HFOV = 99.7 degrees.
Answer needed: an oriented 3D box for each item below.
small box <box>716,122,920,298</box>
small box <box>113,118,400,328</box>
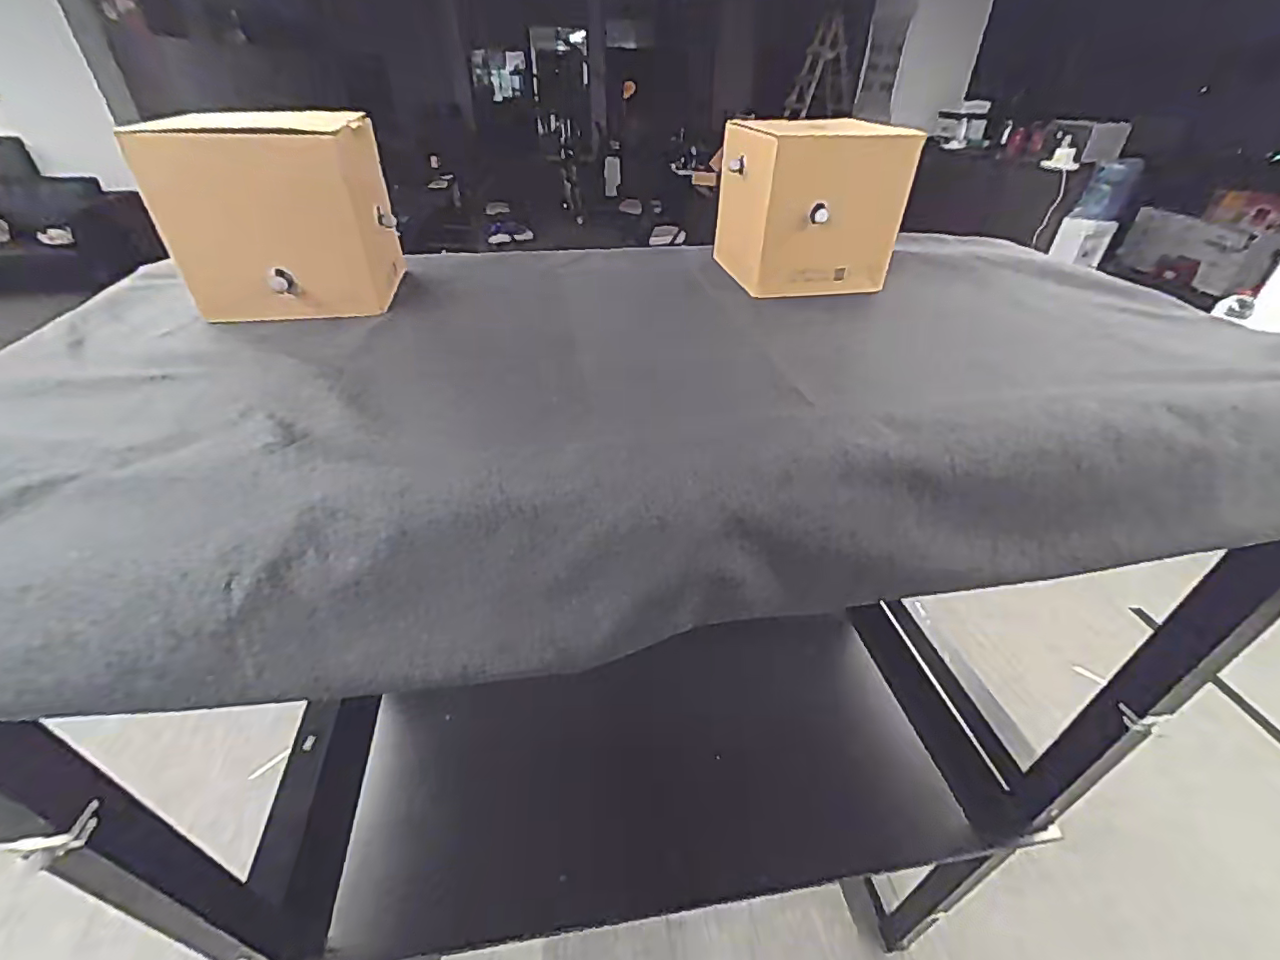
[{"bbox_3d":[0.198,-0.329,0.660,0.168,0.176,0.179,-6,38,-8],"label":"small box"},{"bbox_3d":[-0.369,-0.270,0.570,0.179,0.176,0.168,-6,38,-10],"label":"small box"}]
